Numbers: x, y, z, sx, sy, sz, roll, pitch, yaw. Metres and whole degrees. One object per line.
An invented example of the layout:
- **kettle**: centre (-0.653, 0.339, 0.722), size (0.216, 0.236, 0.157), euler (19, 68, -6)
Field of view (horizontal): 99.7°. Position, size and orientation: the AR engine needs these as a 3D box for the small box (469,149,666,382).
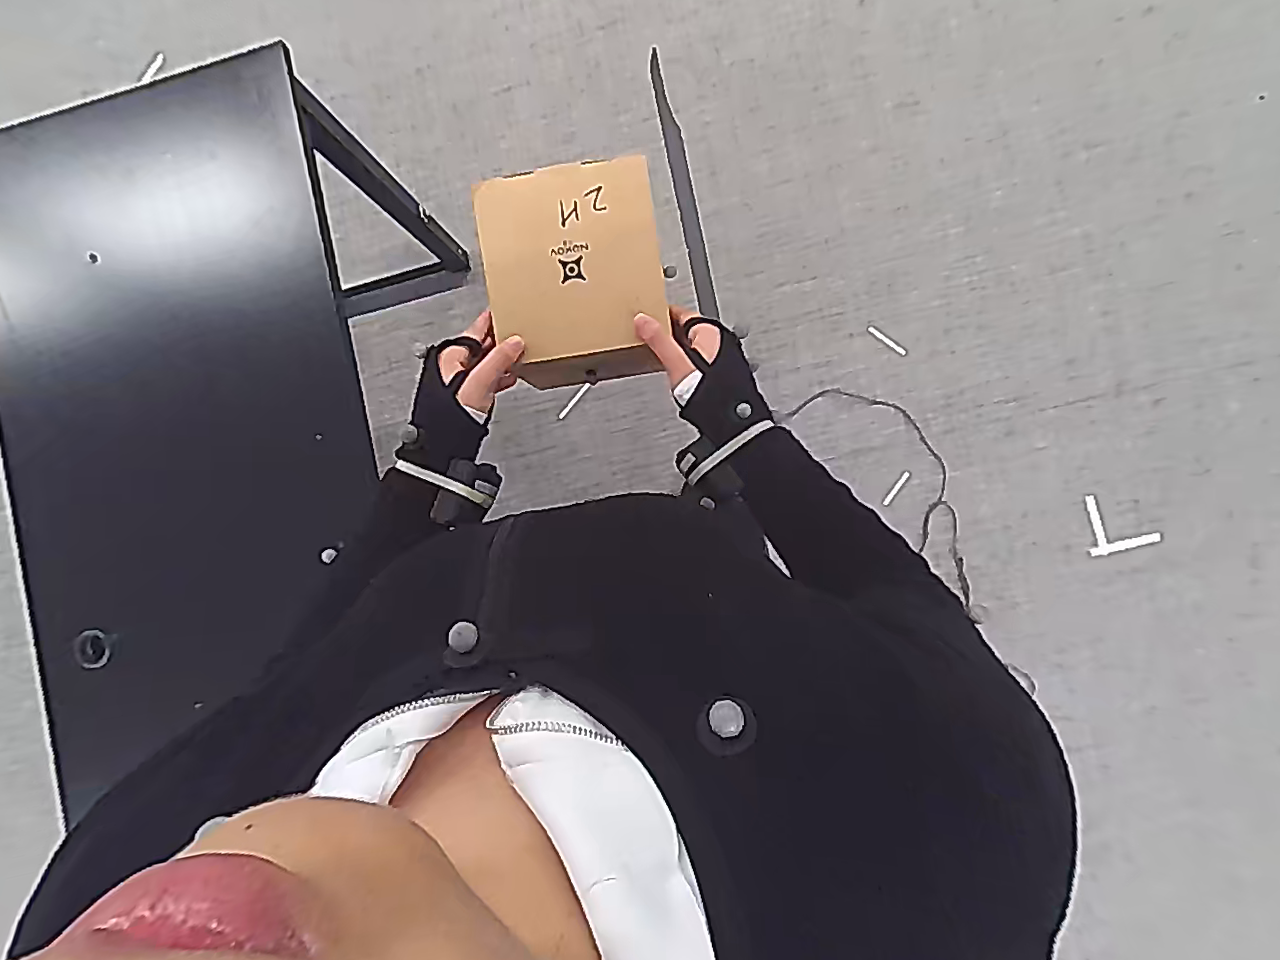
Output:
- **small box**: centre (-0.063, -0.207, 0.576), size (0.168, 0.176, 0.179), euler (-9, 91, 2)
